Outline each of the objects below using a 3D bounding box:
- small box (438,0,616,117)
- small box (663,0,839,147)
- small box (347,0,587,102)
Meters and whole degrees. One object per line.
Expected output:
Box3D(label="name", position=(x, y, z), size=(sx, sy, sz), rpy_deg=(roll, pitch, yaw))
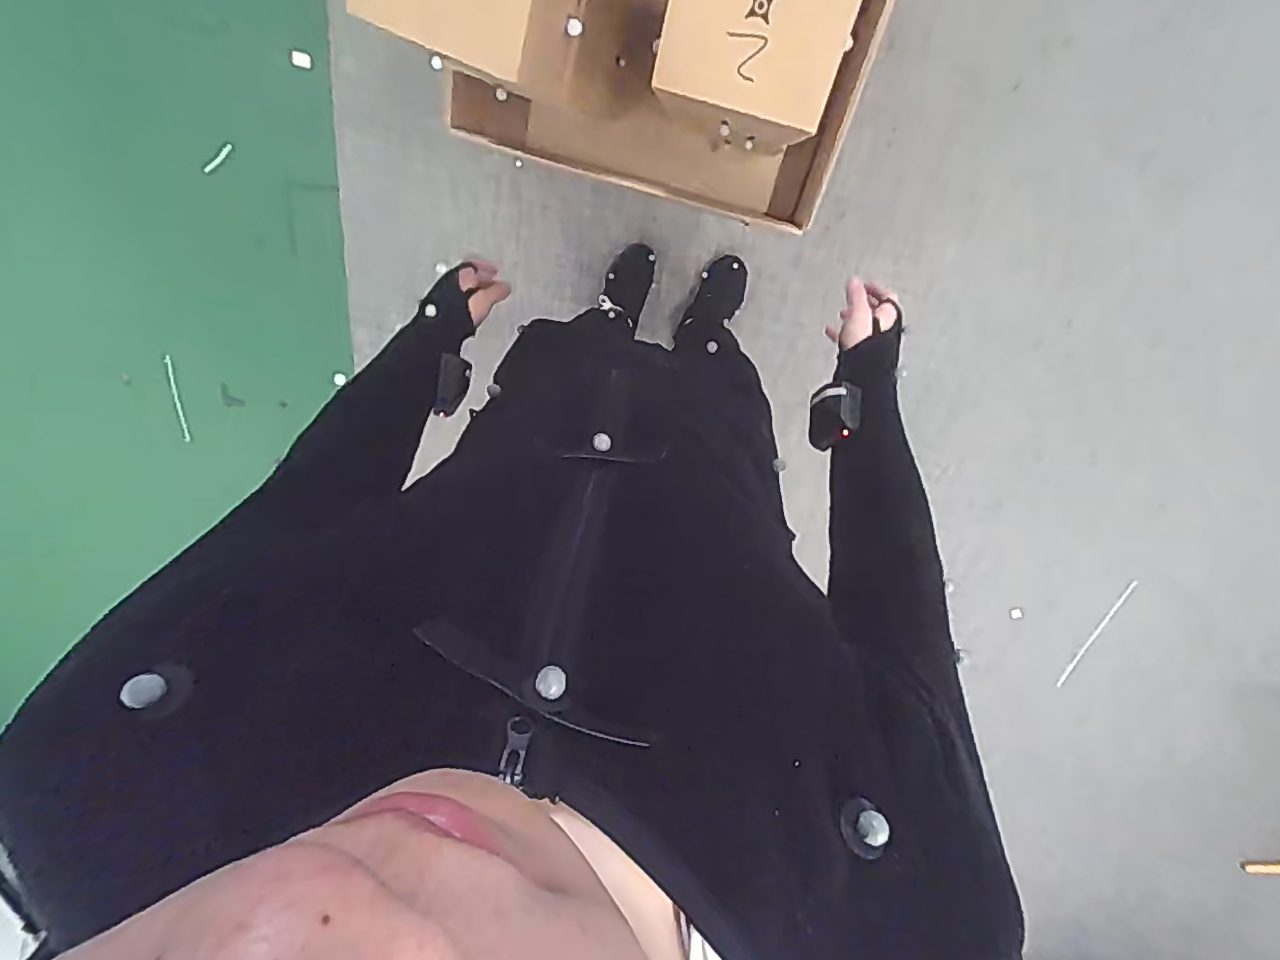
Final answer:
Box3D(label="small box", position=(-0.137, -0.598, 0.697), size=(0.168, 0.176, 0.179), rpy_deg=(19, 118, -2))
Box3D(label="small box", position=(0.137, -0.543, 0.683), size=(0.168, 0.176, 0.179), rpy_deg=(16, 119, -1))
Box3D(label="small box", position=(-0.162, -0.519, 0.555), size=(0.179, 0.176, 0.168), rpy_deg=(21, 119, -4))
